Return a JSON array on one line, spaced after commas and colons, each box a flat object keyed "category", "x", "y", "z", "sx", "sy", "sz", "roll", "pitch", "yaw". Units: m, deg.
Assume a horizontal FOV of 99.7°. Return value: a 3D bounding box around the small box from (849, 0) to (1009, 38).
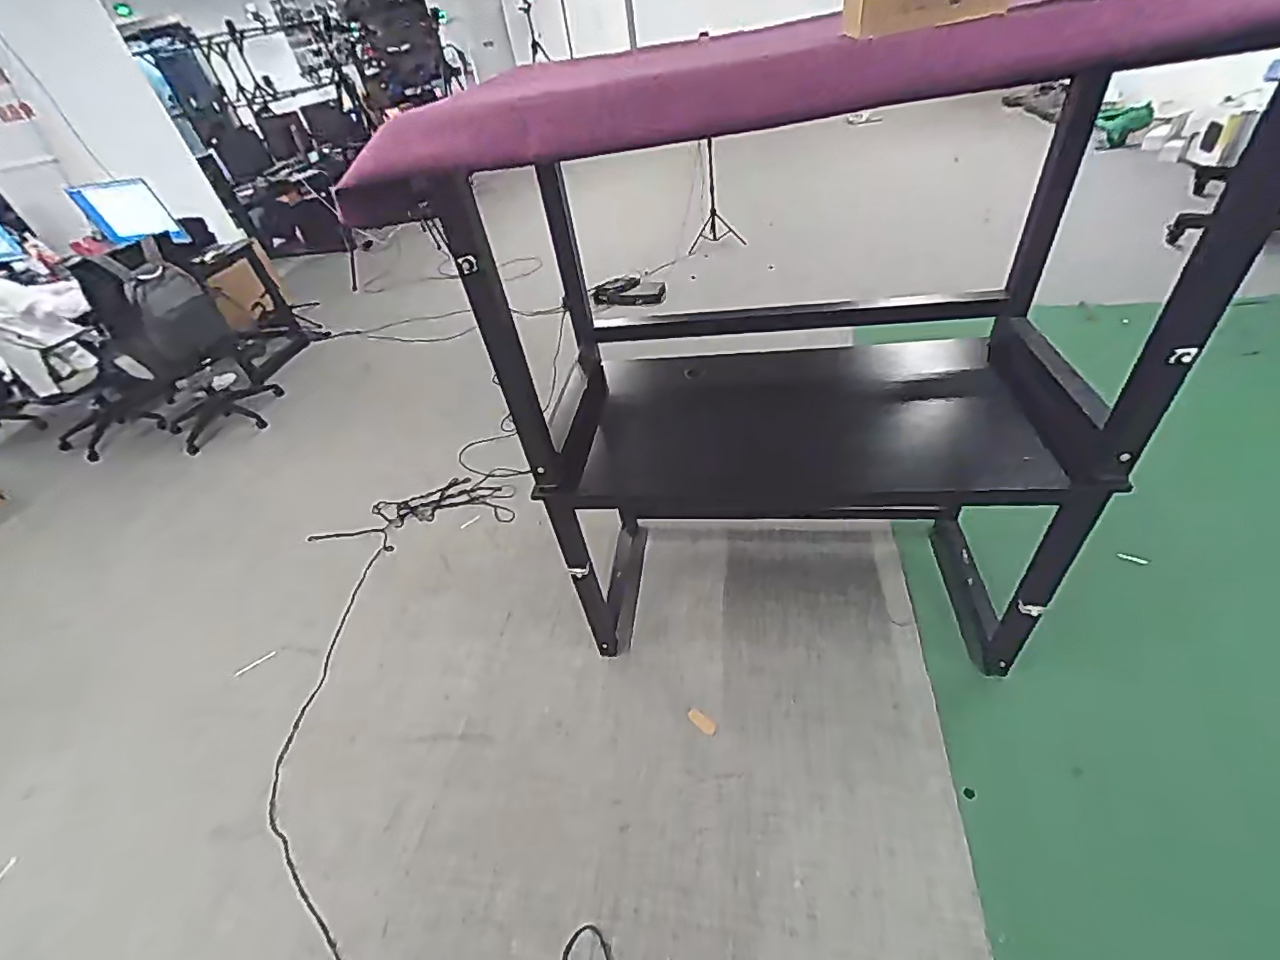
[{"category": "small box", "x": 0.361, "y": -0.665, "z": 0.667, "sx": 0.168, "sy": 0.176, "sz": 0.179, "roll": 1, "pitch": 40, "yaw": 12}]
